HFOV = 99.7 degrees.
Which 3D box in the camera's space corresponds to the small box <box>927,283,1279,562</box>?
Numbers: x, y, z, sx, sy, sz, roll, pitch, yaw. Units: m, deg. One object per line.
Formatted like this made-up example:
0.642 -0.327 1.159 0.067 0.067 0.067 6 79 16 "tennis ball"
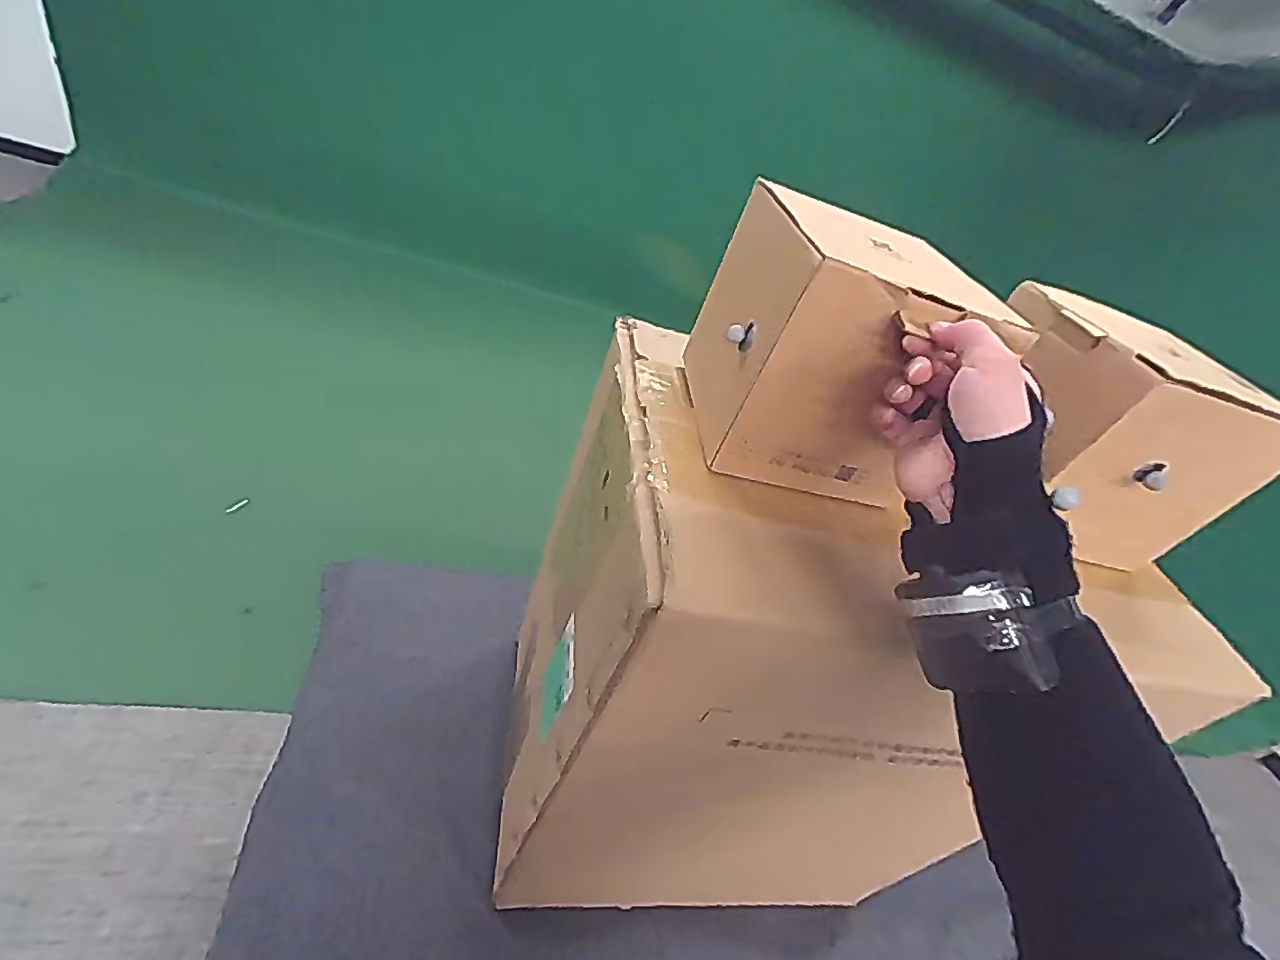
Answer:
0.395 -0.046 0.485 0.179 0.176 0.168 11 42 -13 "small box"
